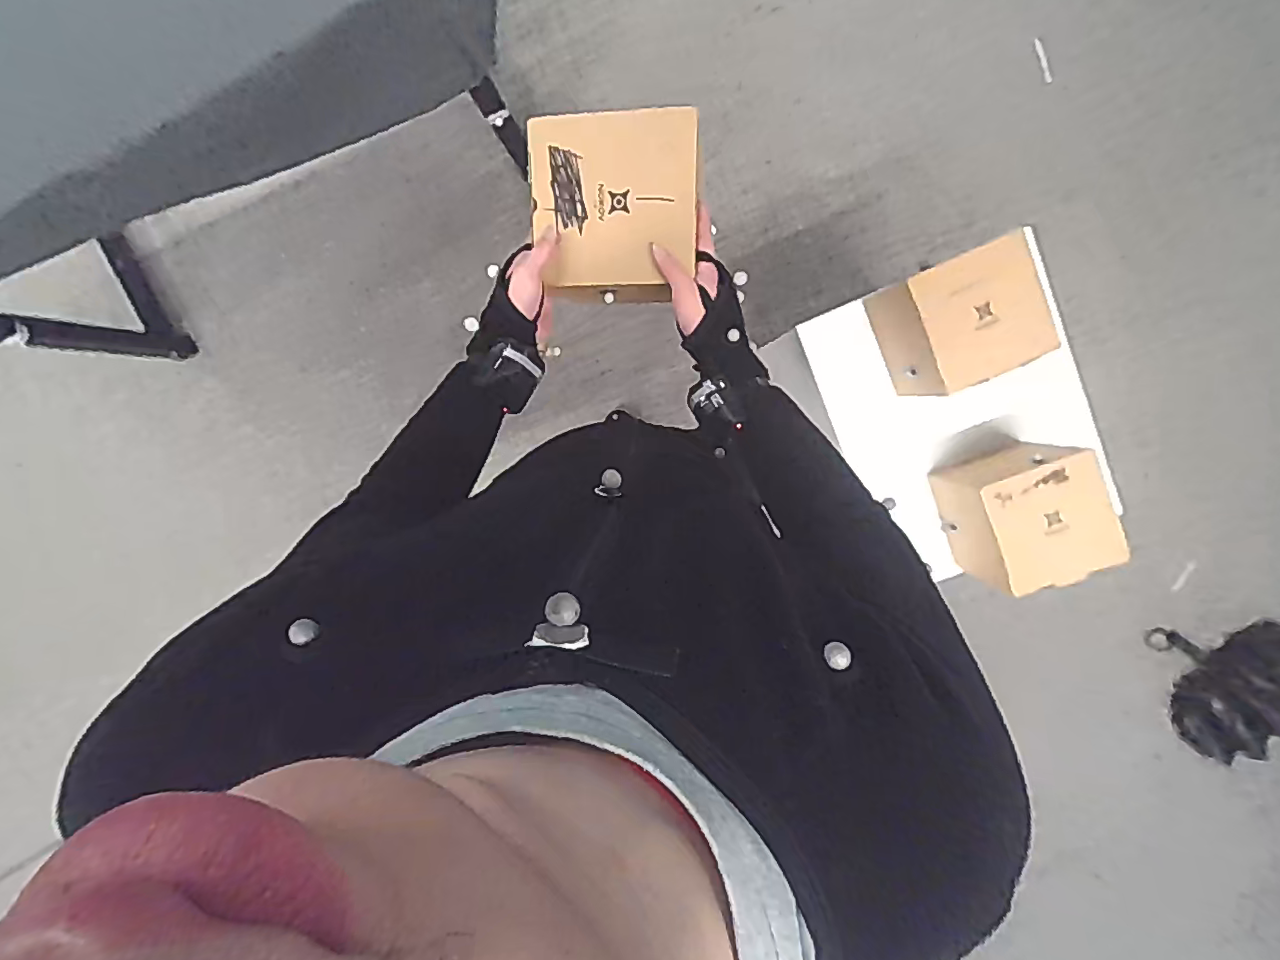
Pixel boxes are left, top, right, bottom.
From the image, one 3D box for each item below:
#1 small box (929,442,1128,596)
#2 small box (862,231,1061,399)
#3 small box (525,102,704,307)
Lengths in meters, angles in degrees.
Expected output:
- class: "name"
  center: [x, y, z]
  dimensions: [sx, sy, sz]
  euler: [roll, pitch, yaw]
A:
- class: "small box"
  center: [0.594, 0.051, 0.848]
  dimensions: [0.168, 0.176, 0.179]
  euler: [-22, 96, 3]
- class: "small box"
  center: [0.469, -0.234, 0.815]
  dimensions: [0.168, 0.176, 0.179]
  euler: [-25, 96, 2]
- class: "small box"
  center: [-0.017, -0.292, 0.611]
  dimensions: [0.179, 0.176, 0.168]
  euler: [0, 101, 6]
